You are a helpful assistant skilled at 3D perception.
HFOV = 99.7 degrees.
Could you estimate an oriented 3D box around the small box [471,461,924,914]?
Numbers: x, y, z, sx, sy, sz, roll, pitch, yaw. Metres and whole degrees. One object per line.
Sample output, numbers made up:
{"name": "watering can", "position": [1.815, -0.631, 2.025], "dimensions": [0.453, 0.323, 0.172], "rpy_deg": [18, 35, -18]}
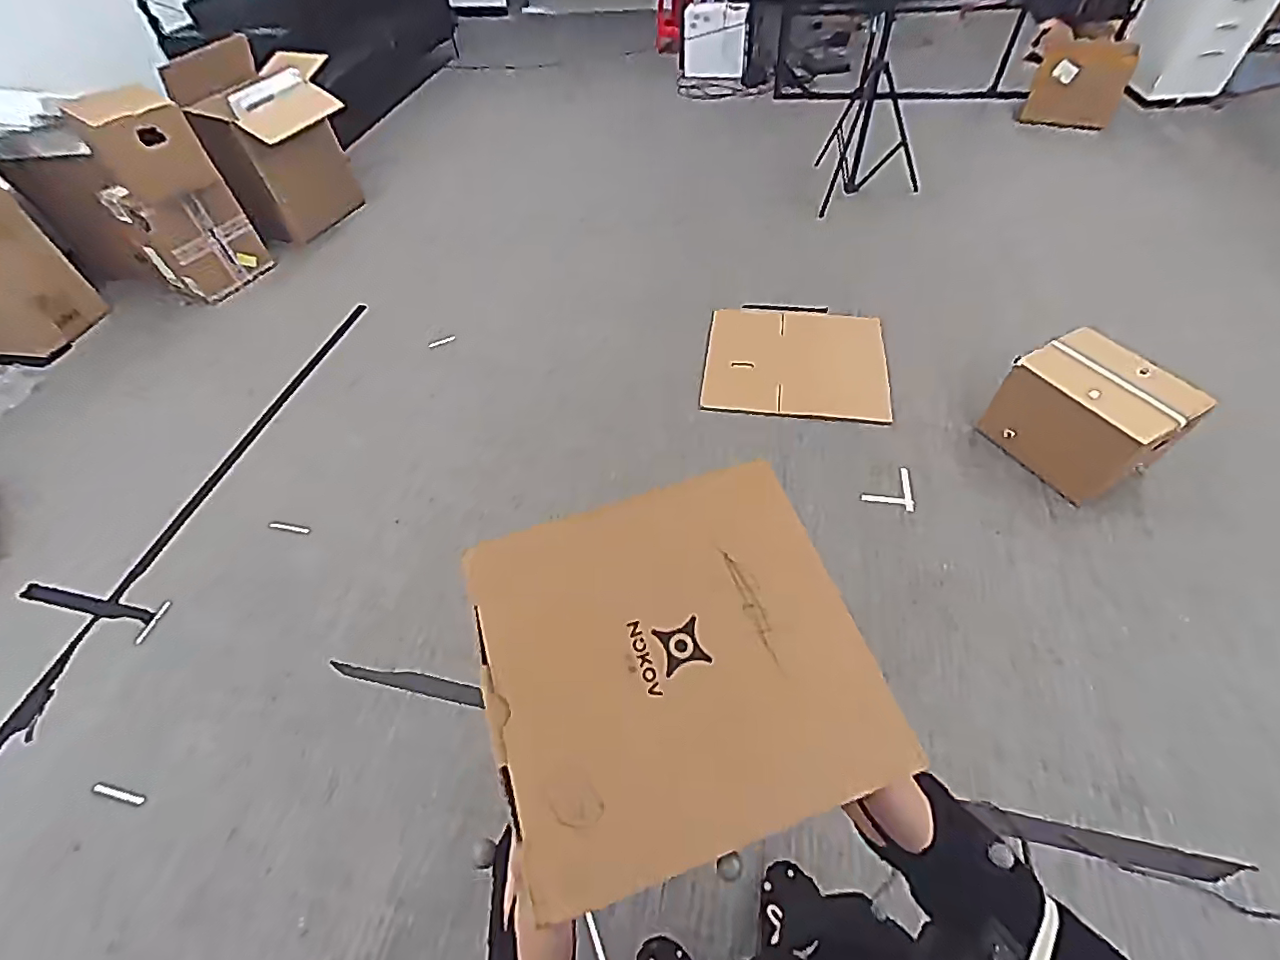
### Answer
{"name": "small box", "position": [0.019, 0.118, 0.327], "dimensions": [0.179, 0.176, 0.168], "rpy_deg": [-17, 62, -10]}
